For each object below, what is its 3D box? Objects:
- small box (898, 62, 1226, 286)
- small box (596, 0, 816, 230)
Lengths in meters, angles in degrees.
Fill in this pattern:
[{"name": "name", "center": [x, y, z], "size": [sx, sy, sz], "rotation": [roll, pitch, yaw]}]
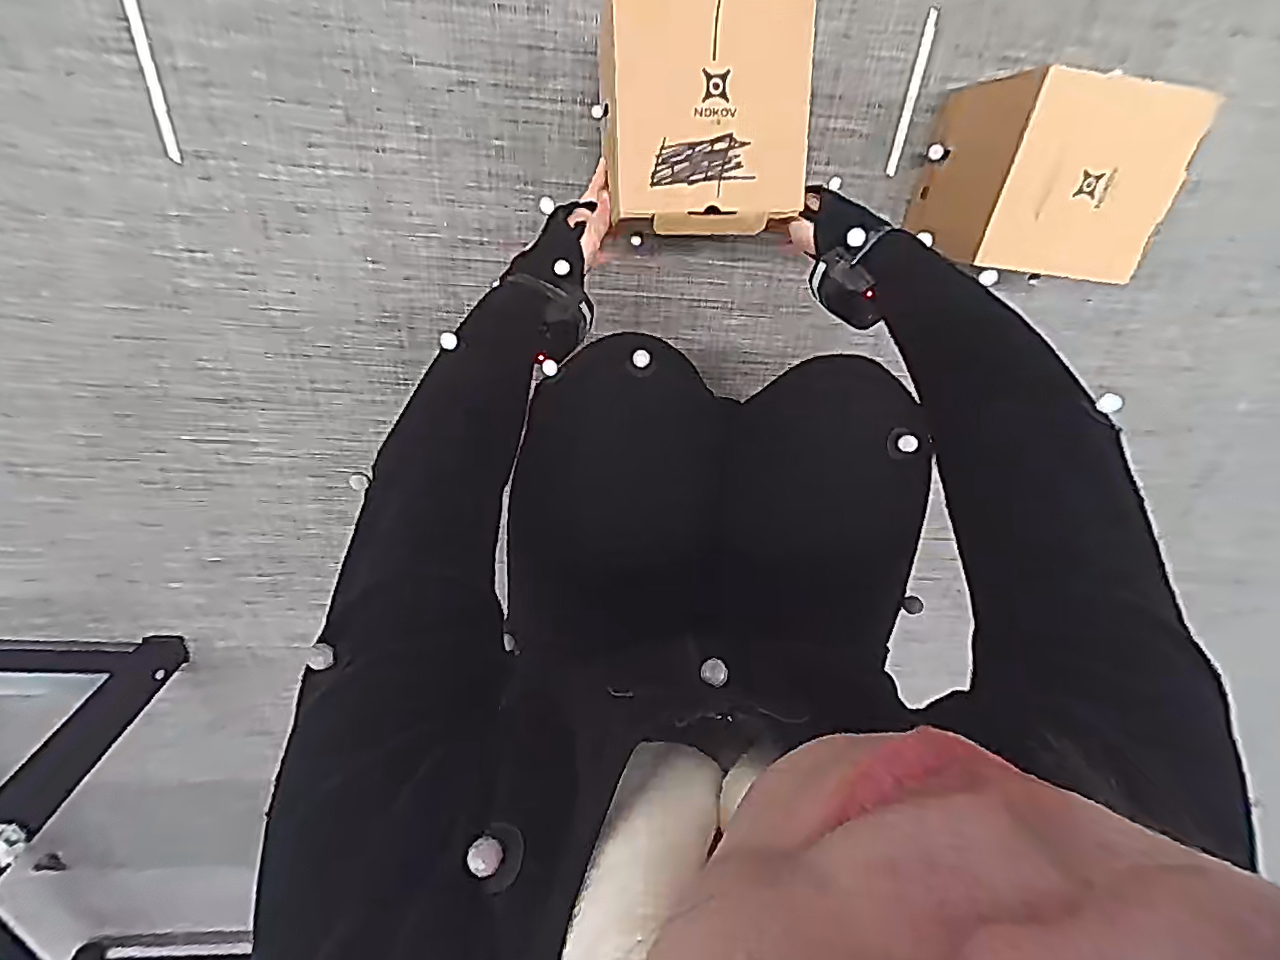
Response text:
[{"name": "small box", "center": [0.417, -0.316, 0.574], "size": [0.179, 0.176, 0.168], "rotation": [5, 119, -7]}, {"name": "small box", "center": [0.047, -0.336, 0.506], "size": [0.168, 0.176, 0.179], "rotation": [-4, 108, -7]}]
